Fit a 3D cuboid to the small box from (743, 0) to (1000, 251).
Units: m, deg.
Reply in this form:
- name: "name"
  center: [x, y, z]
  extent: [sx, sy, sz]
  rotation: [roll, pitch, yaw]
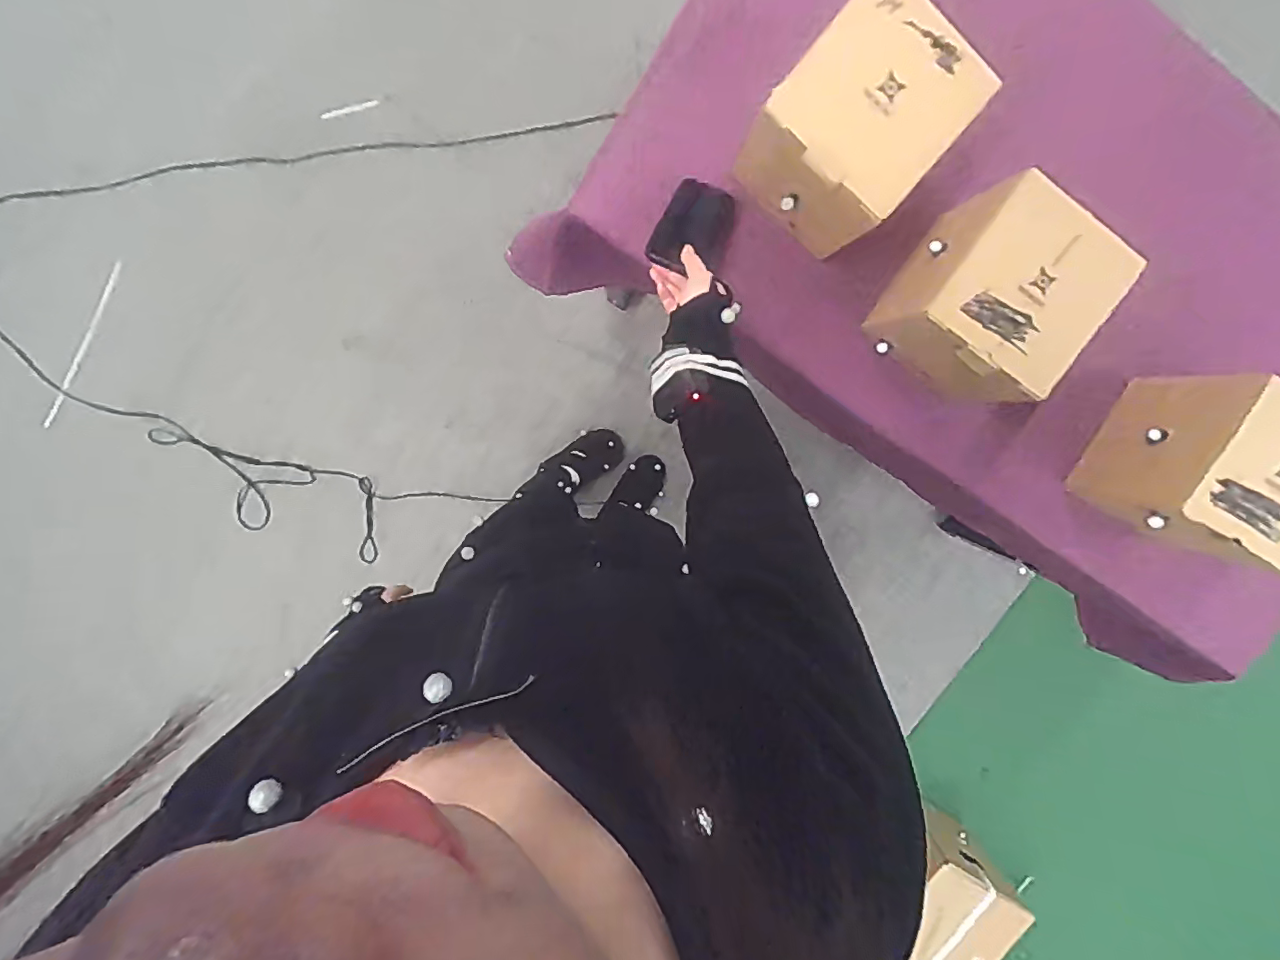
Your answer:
- name: "small box"
  center: [0.233, -0.389, 0.603]
  extent: [0.168, 0.176, 0.179]
  rotation: [41, 97, -8]

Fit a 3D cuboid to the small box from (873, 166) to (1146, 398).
- name: "small box"
  center: [0.408, -0.213, 0.638]
  extent: [0.168, 0.176, 0.179]
  rotation: [33, 97, -7]
